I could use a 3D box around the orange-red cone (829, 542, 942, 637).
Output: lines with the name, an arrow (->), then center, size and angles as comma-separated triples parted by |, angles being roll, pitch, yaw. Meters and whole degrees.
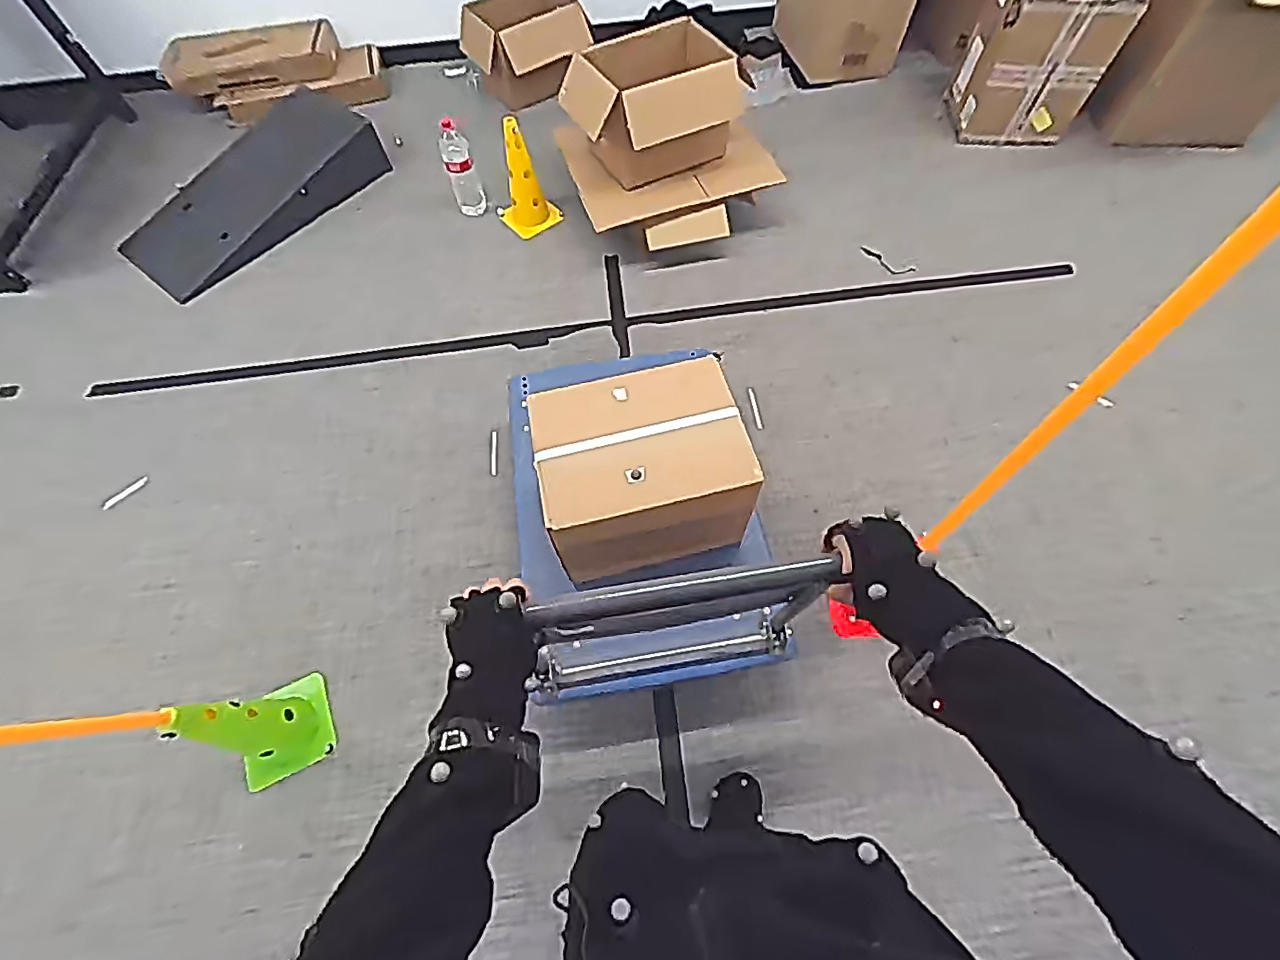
orange-red cone -> 0.579, 0.218, 1.211 | 0.199, 0.360, 0.198 | -1, 62, 1
